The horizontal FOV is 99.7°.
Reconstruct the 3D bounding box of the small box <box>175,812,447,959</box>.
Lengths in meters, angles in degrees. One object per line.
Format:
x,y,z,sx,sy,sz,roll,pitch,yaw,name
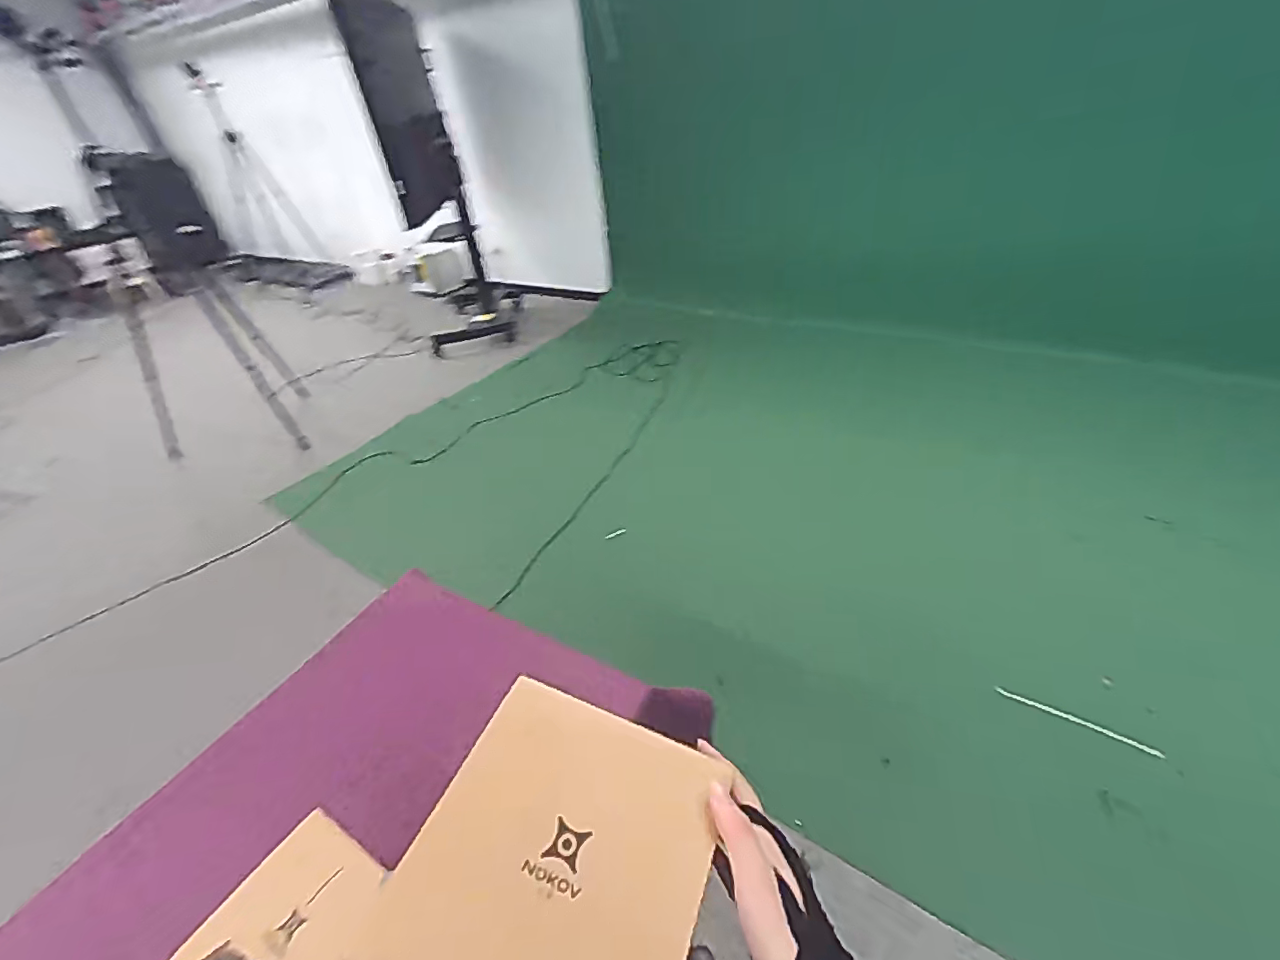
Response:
-0.344,0.518,0.585,0.168,0.176,0.179,16,42,28,small box
